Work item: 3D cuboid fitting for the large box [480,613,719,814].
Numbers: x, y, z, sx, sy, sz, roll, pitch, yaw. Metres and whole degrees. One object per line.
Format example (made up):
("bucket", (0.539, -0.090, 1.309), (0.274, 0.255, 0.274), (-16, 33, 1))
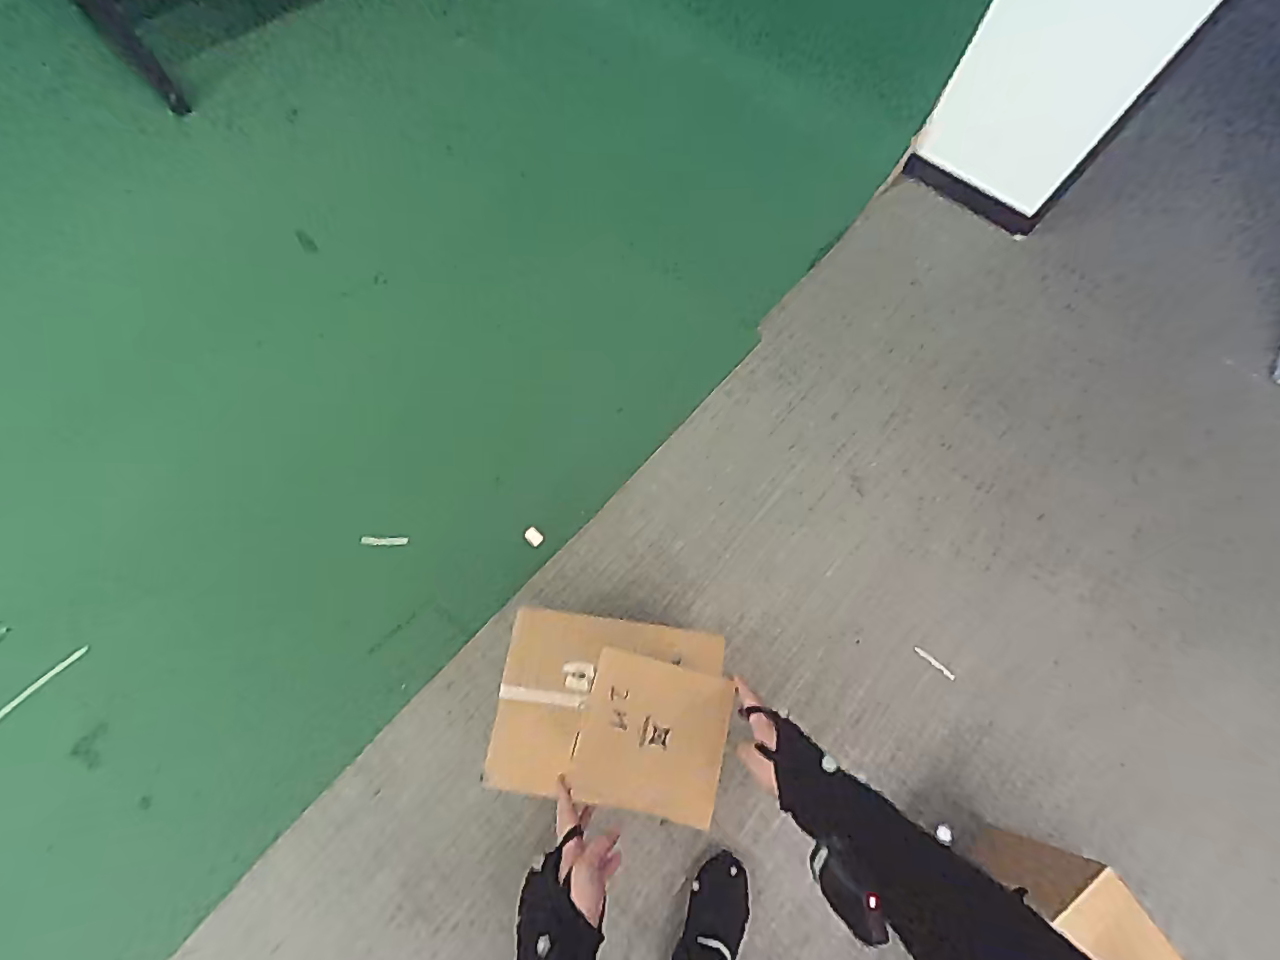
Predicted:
("large box", (-0.064, 0.473, 1.118), (0.408, 0.320, 0.320), (7, 67, 1))

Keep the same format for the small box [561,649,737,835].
("small box", (0.013, 0.332, 0.714), (0.179, 0.176, 0.168), (15, 69, 5))
